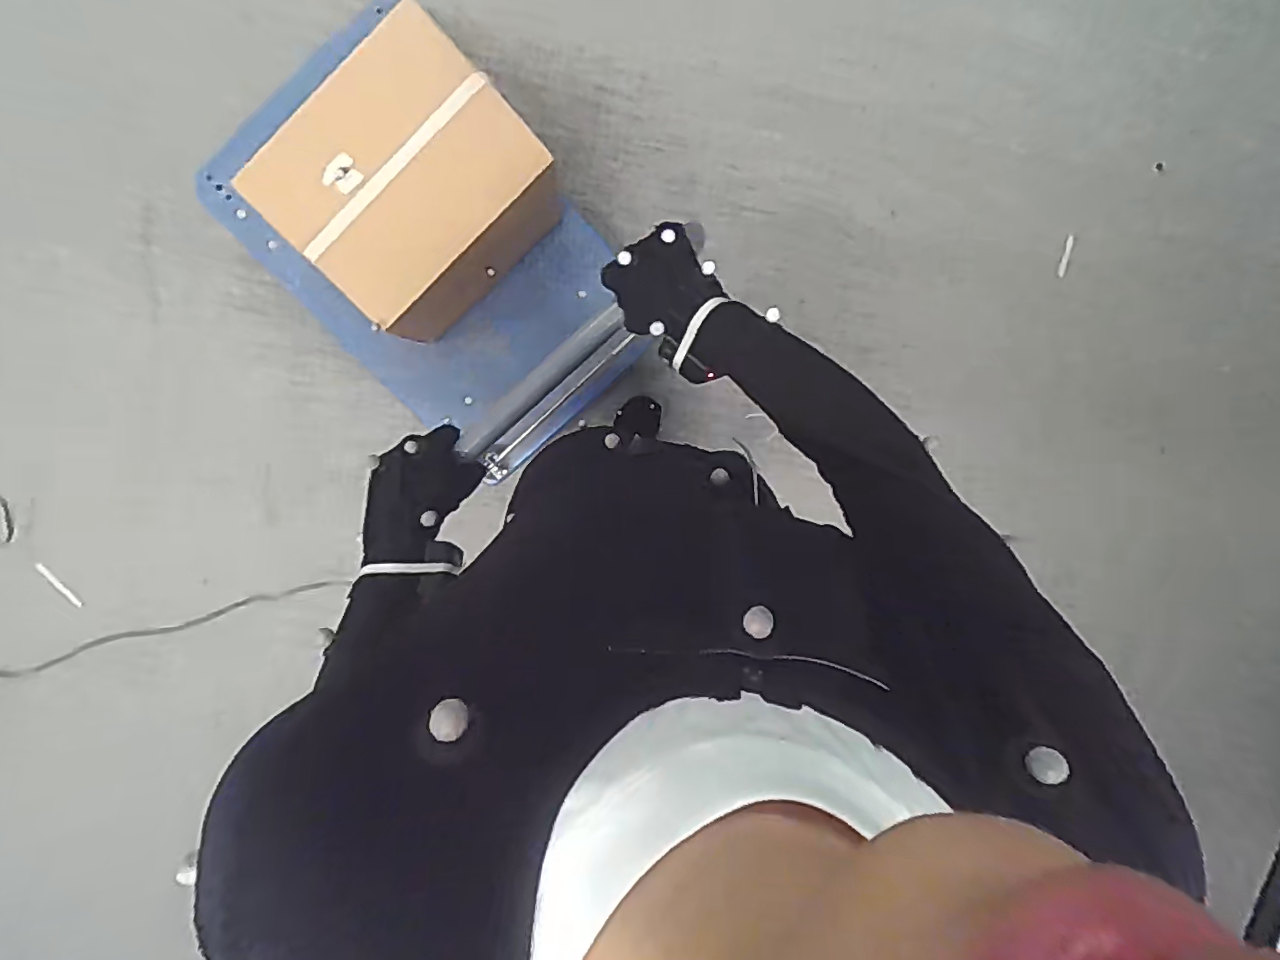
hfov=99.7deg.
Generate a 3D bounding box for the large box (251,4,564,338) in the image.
[{"bbox_3d":[-0.394,-0.529,1.027,0.408,0.320,0.320,-44,100,4],"label":"large box"}]
